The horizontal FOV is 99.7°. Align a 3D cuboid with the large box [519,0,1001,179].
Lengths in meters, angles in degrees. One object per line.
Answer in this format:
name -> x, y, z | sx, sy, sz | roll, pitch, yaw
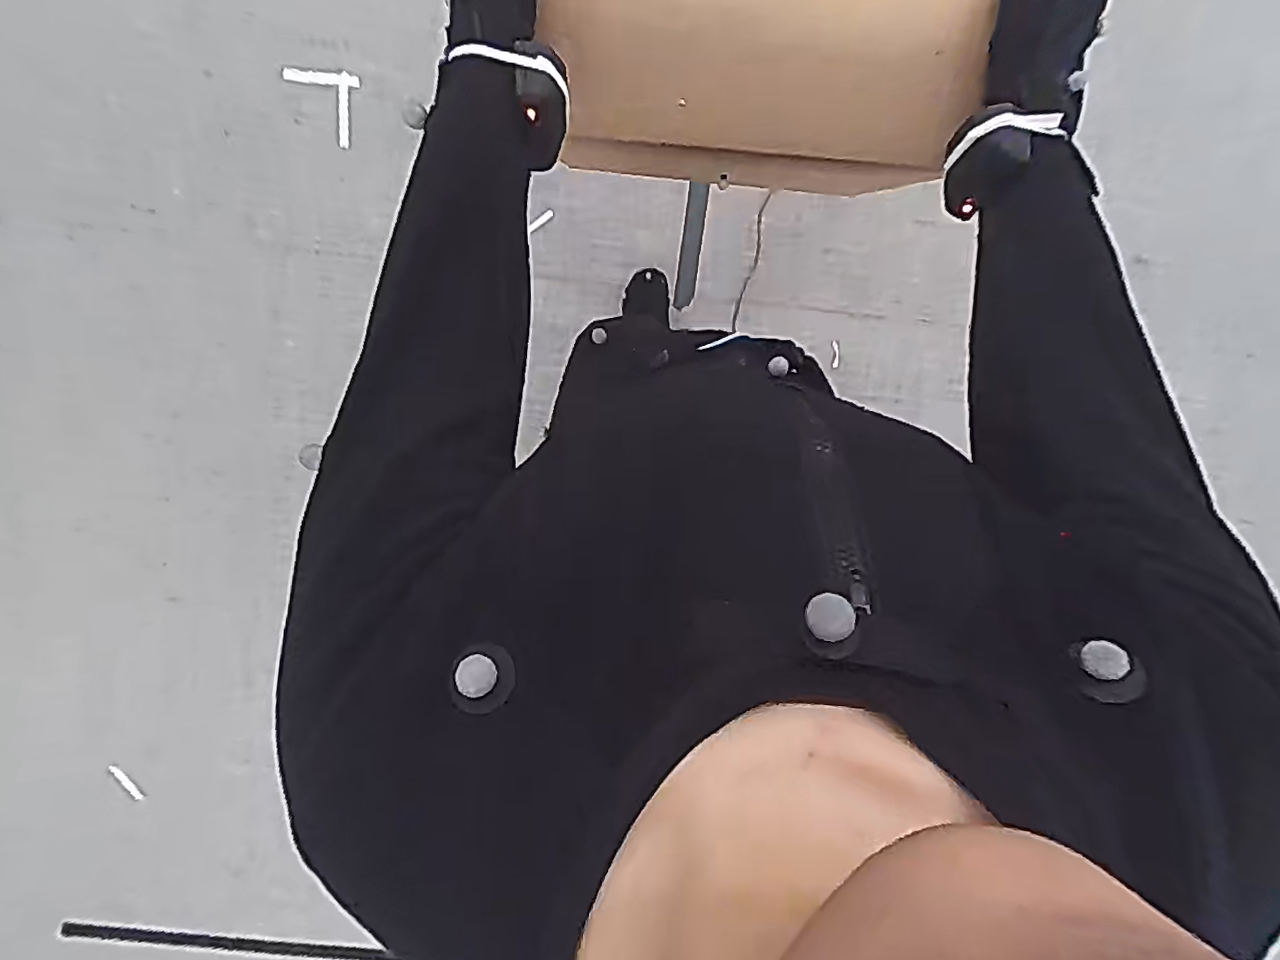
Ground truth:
large box -> 0.108, -0.507, 0.558 | 0.408, 0.320, 0.320 | 5, 114, -1
